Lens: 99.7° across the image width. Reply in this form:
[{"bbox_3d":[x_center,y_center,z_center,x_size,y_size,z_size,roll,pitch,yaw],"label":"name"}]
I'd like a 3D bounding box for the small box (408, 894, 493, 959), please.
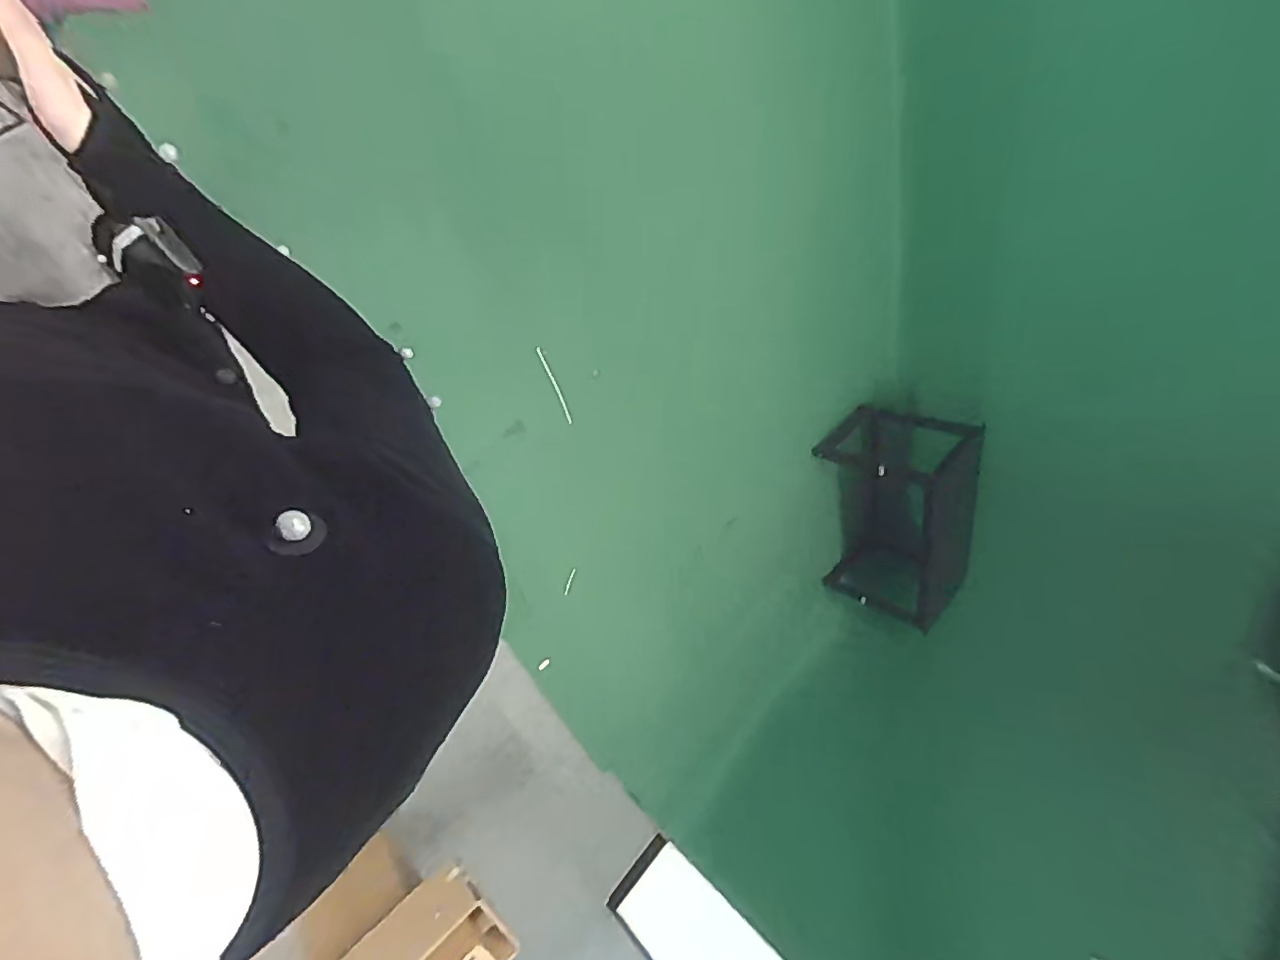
[{"bbox_3d":[-0.600,1.460,1.702,0.168,0.176,0.179,-34,128,-28],"label":"small box"}]

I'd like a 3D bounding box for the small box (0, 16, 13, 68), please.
[{"bbox_3d":[-0.573,-0.404,0.353,0.168,0.176,0.179,-17,121,-36],"label":"small box"}]
